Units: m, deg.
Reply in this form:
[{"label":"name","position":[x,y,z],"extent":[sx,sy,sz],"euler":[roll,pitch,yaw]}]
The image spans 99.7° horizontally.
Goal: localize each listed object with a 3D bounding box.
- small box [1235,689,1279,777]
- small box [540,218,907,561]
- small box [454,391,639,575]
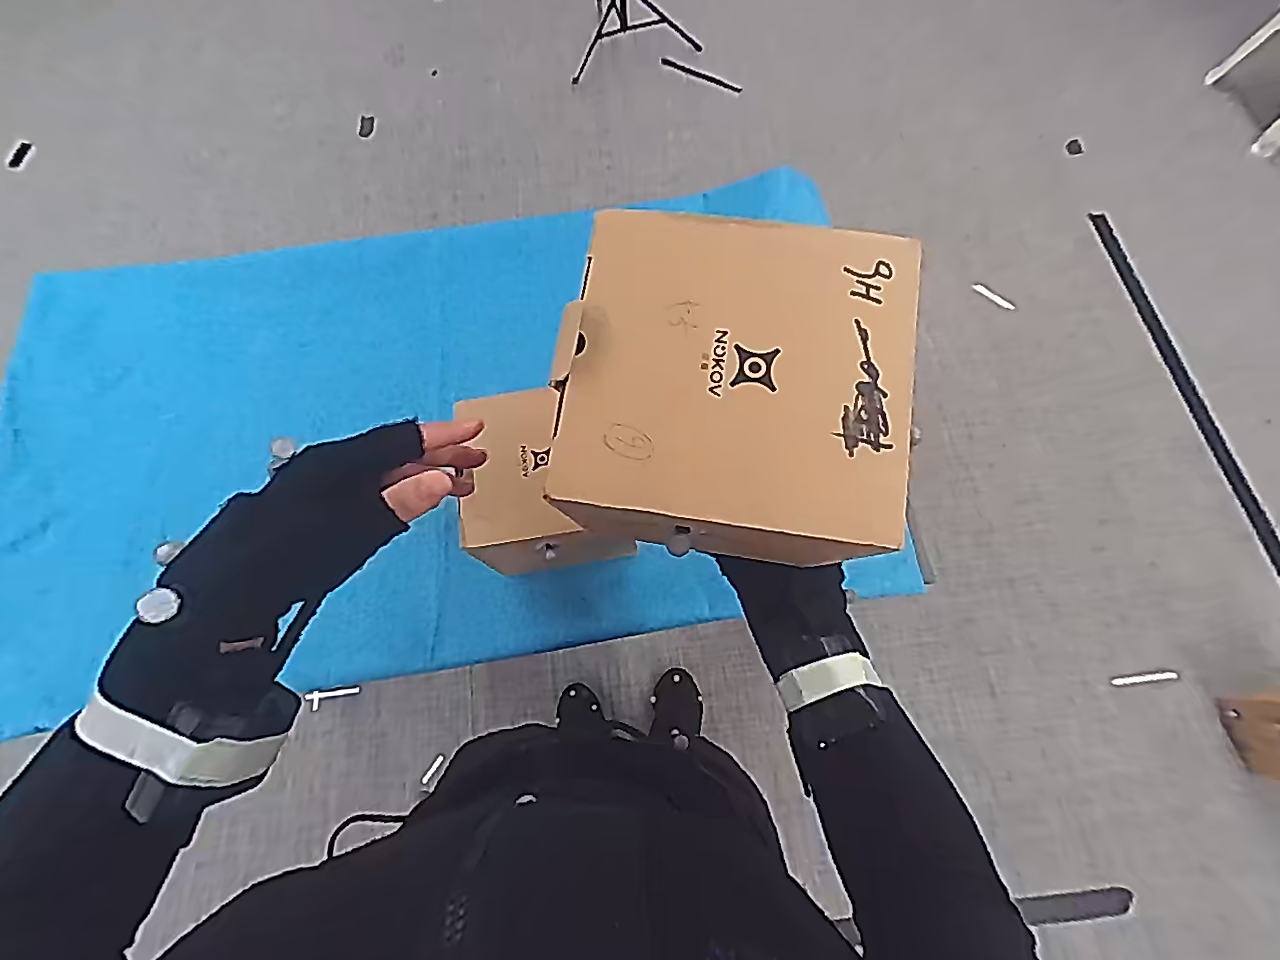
[{"label":"small box","position":[1.434,0.534,1.138],"extent":[0.179,0.176,0.168],"euler":[-9,71,-1]},{"label":"small box","position":[0.050,-0.040,0.353],"extent":[0.179,0.176,0.168],"euler":[6,79,4]},{"label":"small box","position":[-0.102,0.010,0.635],"extent":[0.179,0.176,0.168],"euler":[-9,71,0]}]
